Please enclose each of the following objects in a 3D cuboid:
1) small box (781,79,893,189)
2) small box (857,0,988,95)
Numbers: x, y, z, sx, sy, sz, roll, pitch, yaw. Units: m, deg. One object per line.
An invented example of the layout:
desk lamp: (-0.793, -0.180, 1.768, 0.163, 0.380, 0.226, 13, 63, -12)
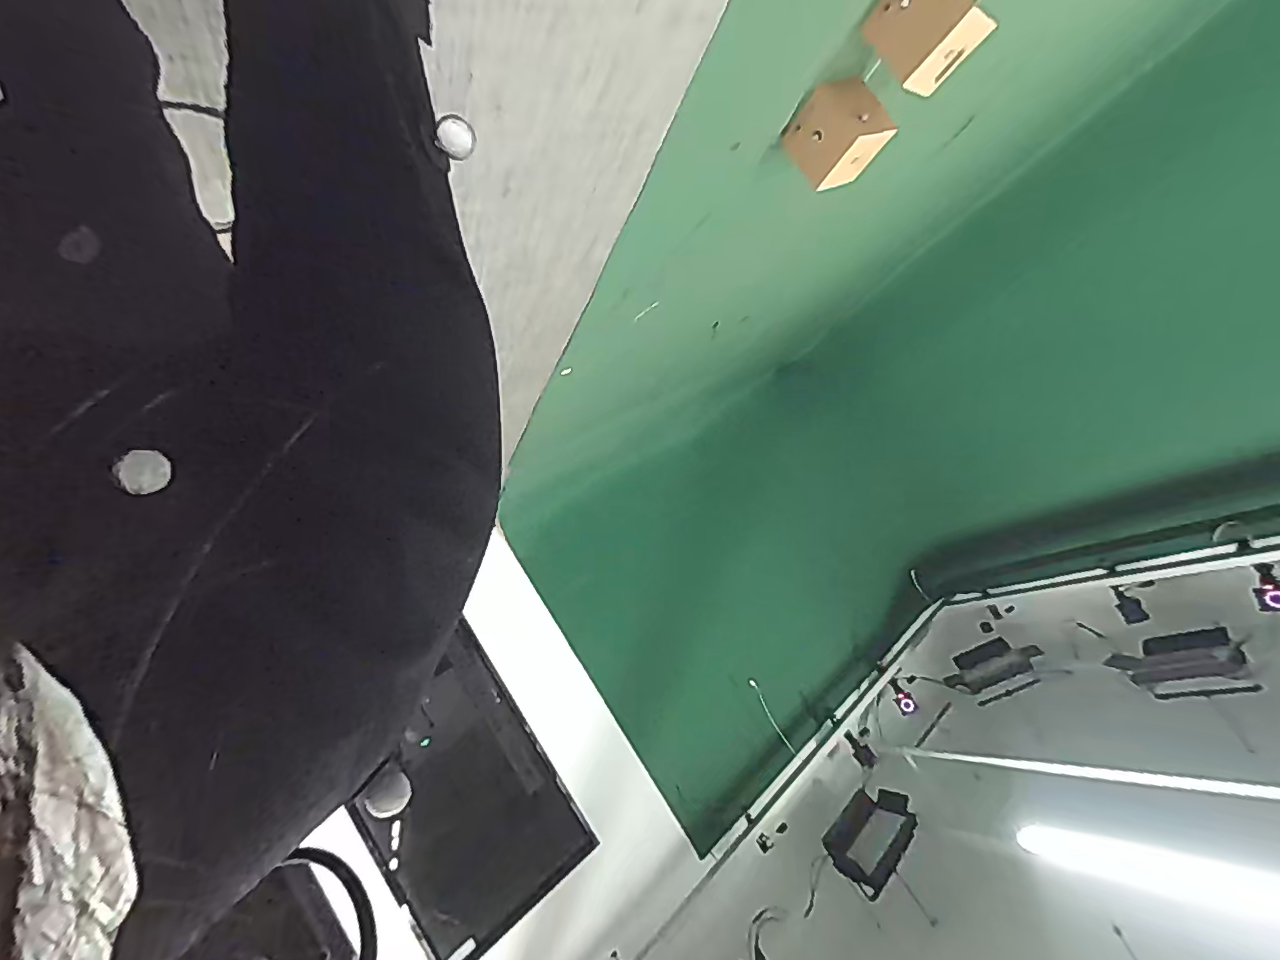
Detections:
small box: (0.497, -0.889, 1.387, 0.179, 0.176, 0.168, -30, 175, -30)
small box: (0.612, -0.988, 1.177, 0.179, 0.176, 0.168, -27, 171, -42)
